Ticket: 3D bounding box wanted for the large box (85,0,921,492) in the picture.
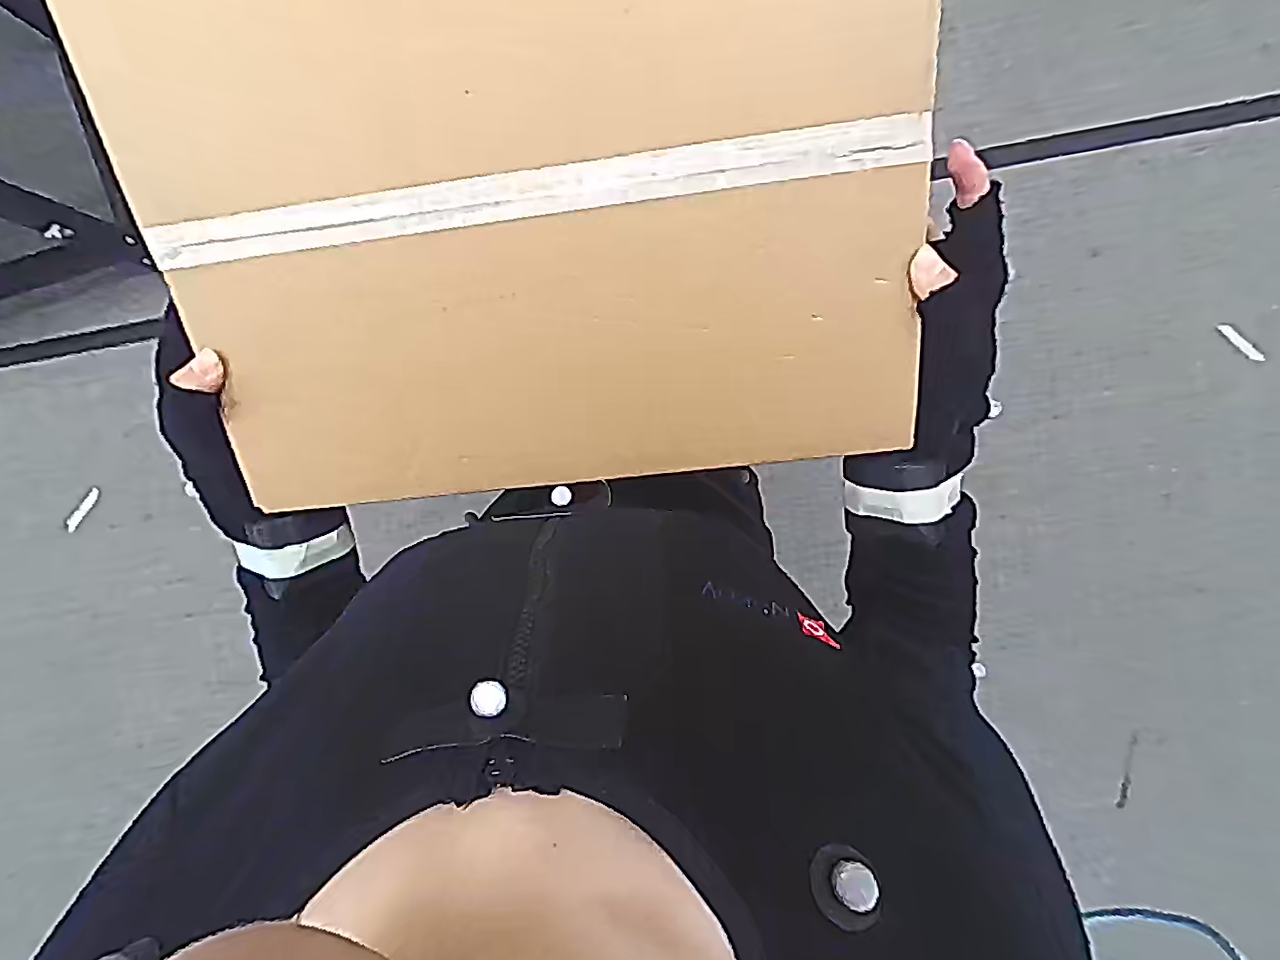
[{"bbox_3d":[-0.057,-0.206,0.424,0.408,0.320,0.320,-6,112,4],"label":"large box"}]
